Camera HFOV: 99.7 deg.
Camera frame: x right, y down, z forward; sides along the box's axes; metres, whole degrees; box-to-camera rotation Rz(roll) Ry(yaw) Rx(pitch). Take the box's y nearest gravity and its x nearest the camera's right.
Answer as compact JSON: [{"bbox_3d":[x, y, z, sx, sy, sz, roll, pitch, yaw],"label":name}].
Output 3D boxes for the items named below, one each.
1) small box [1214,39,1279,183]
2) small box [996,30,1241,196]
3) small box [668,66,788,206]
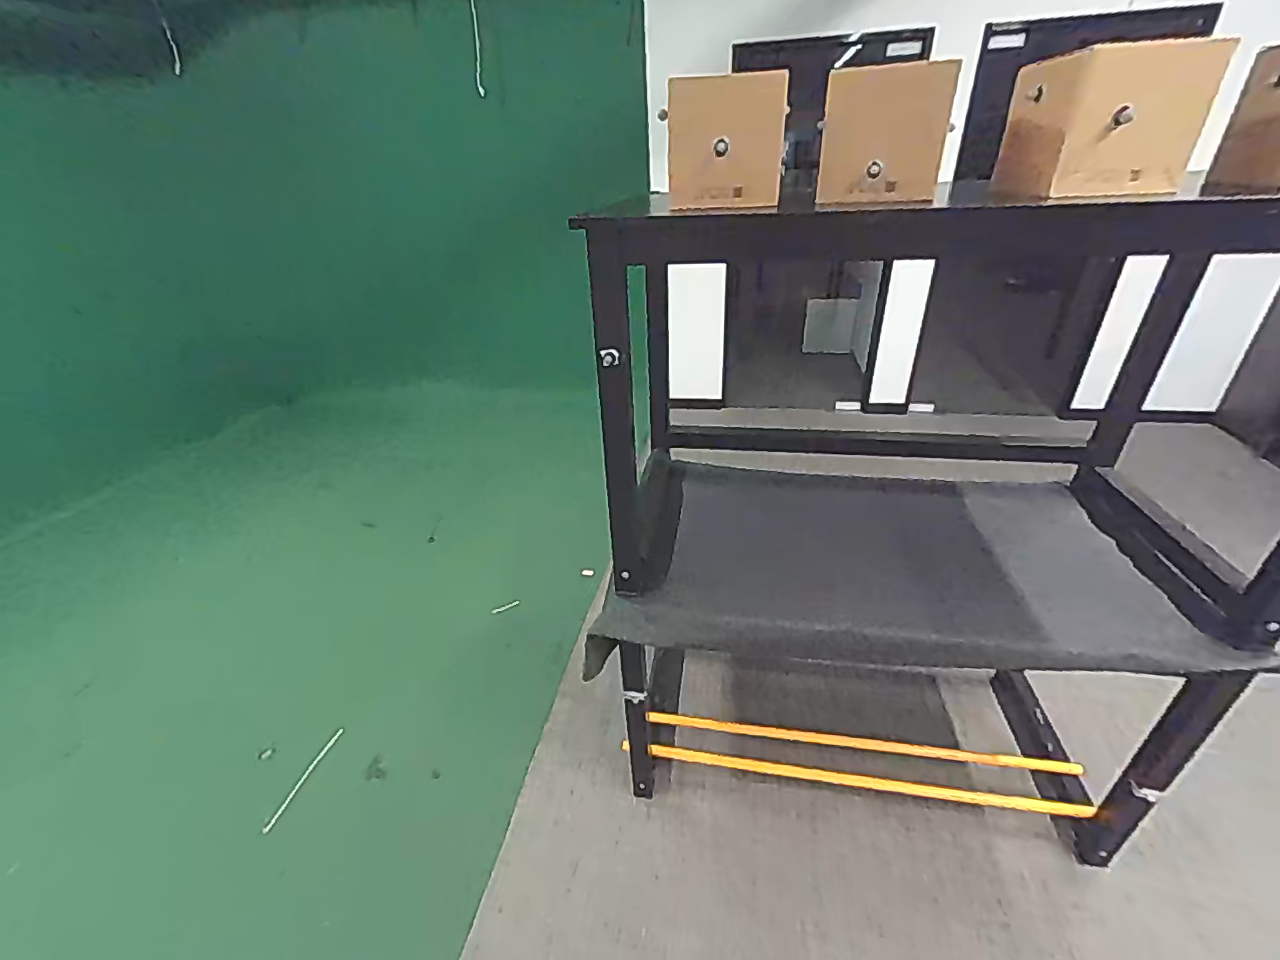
[{"bbox_3d":[0.928,-0.486,0.705,0.168,0.176,0.179,5,32,15],"label":"small box"},{"bbox_3d":[0.638,-0.495,0.752,0.168,0.176,0.179,0,30,6],"label":"small box"},{"bbox_3d":[0.133,-0.528,0.848,0.168,0.176,0.179,2,30,6],"label":"small box"}]
